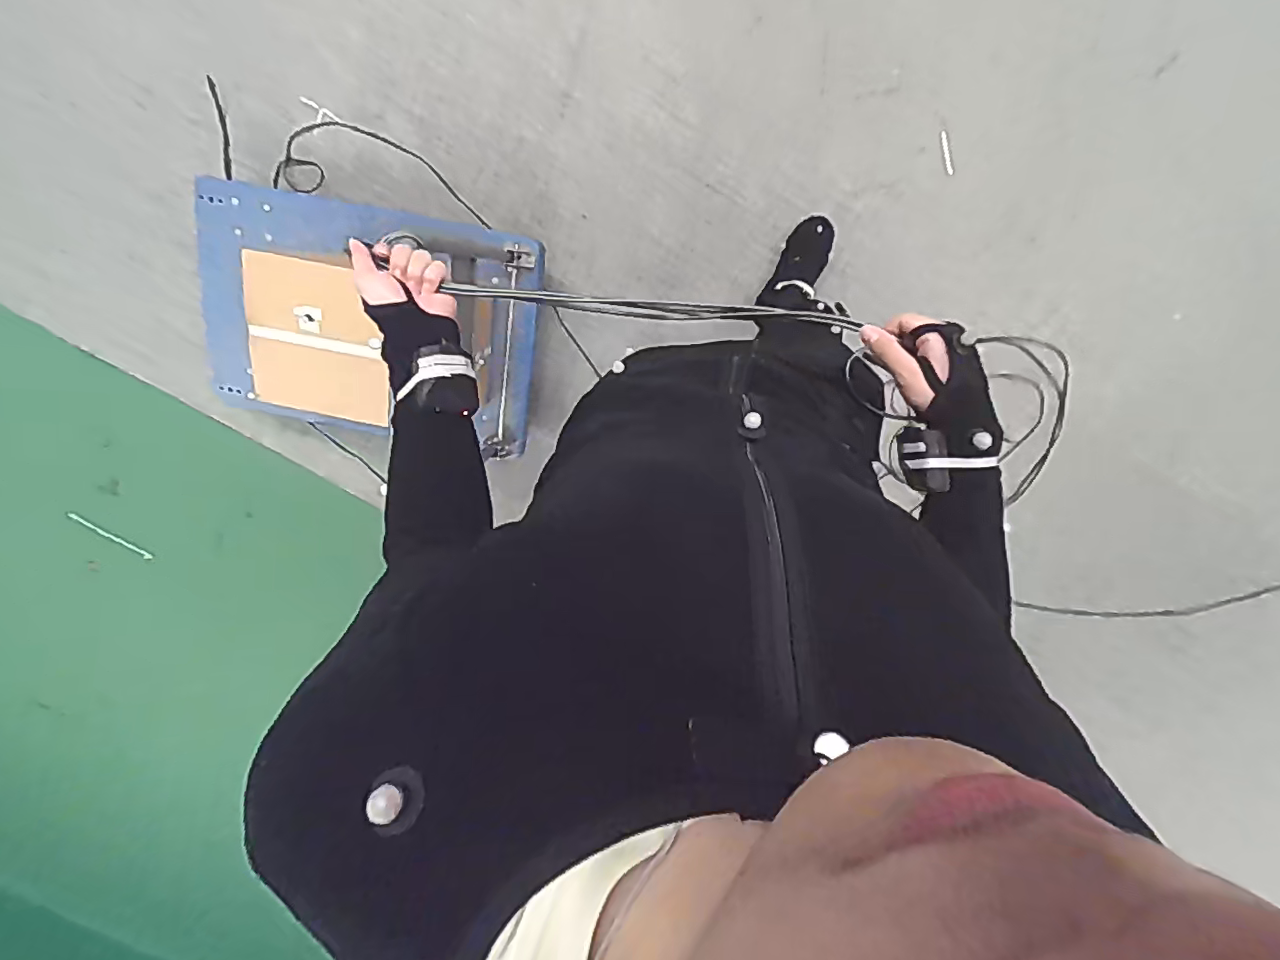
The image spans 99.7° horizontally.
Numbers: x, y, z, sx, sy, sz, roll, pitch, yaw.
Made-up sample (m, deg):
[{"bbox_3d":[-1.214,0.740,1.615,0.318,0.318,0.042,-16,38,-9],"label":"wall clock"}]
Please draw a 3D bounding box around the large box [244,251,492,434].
[{"bbox_3d":[-0.589,-0.324,1.241,0.408,0.320,0.320,12,111,3],"label":"large box"}]
